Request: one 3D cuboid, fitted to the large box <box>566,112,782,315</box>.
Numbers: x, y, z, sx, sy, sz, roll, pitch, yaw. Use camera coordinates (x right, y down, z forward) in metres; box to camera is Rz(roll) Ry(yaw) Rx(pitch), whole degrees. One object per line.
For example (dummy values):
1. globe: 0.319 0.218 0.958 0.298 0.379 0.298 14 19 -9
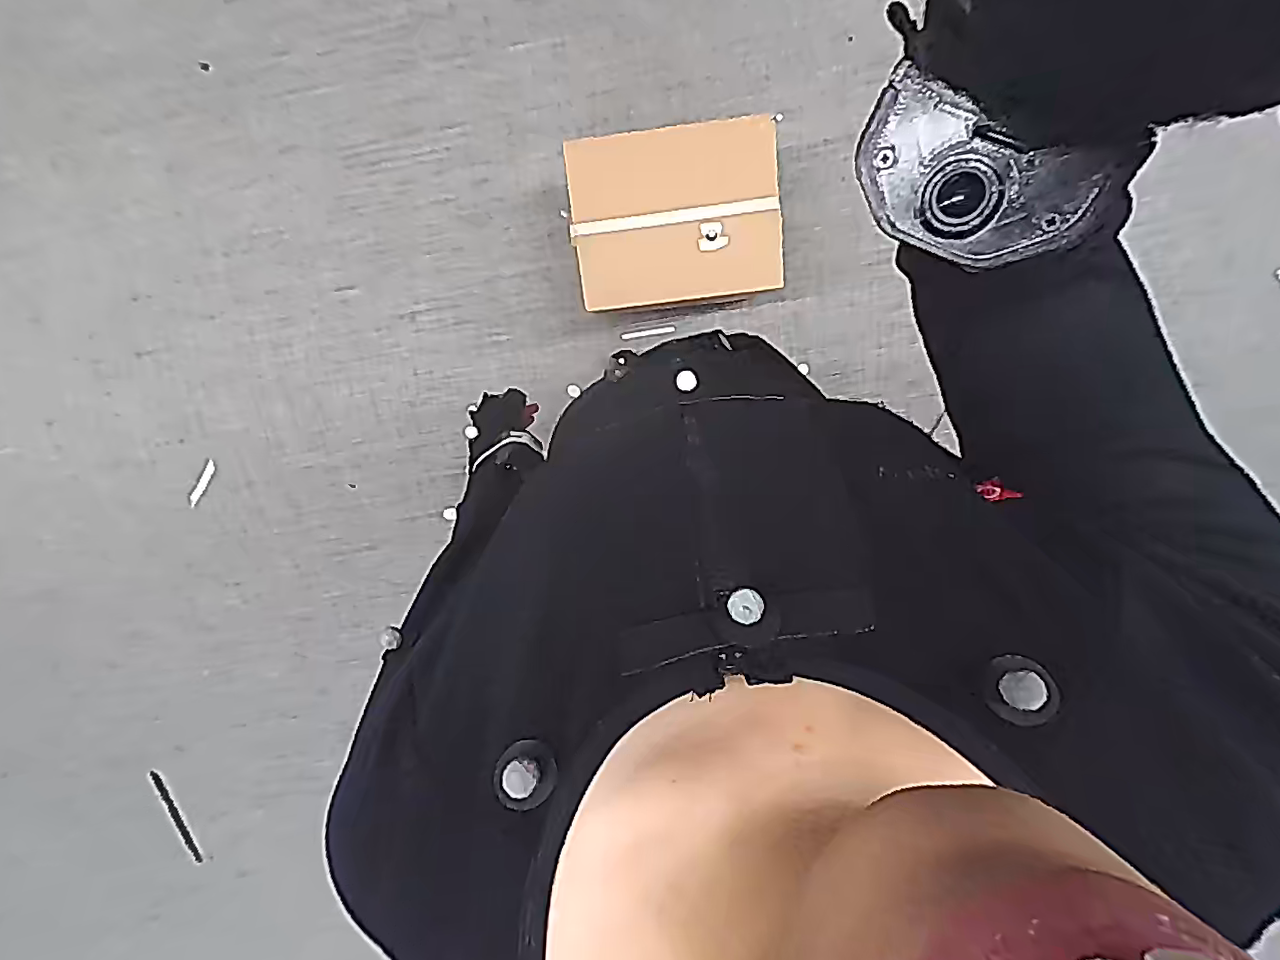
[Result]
1. large box: 0.072 -0.558 1.204 0.408 0.320 0.320 -6 105 2
